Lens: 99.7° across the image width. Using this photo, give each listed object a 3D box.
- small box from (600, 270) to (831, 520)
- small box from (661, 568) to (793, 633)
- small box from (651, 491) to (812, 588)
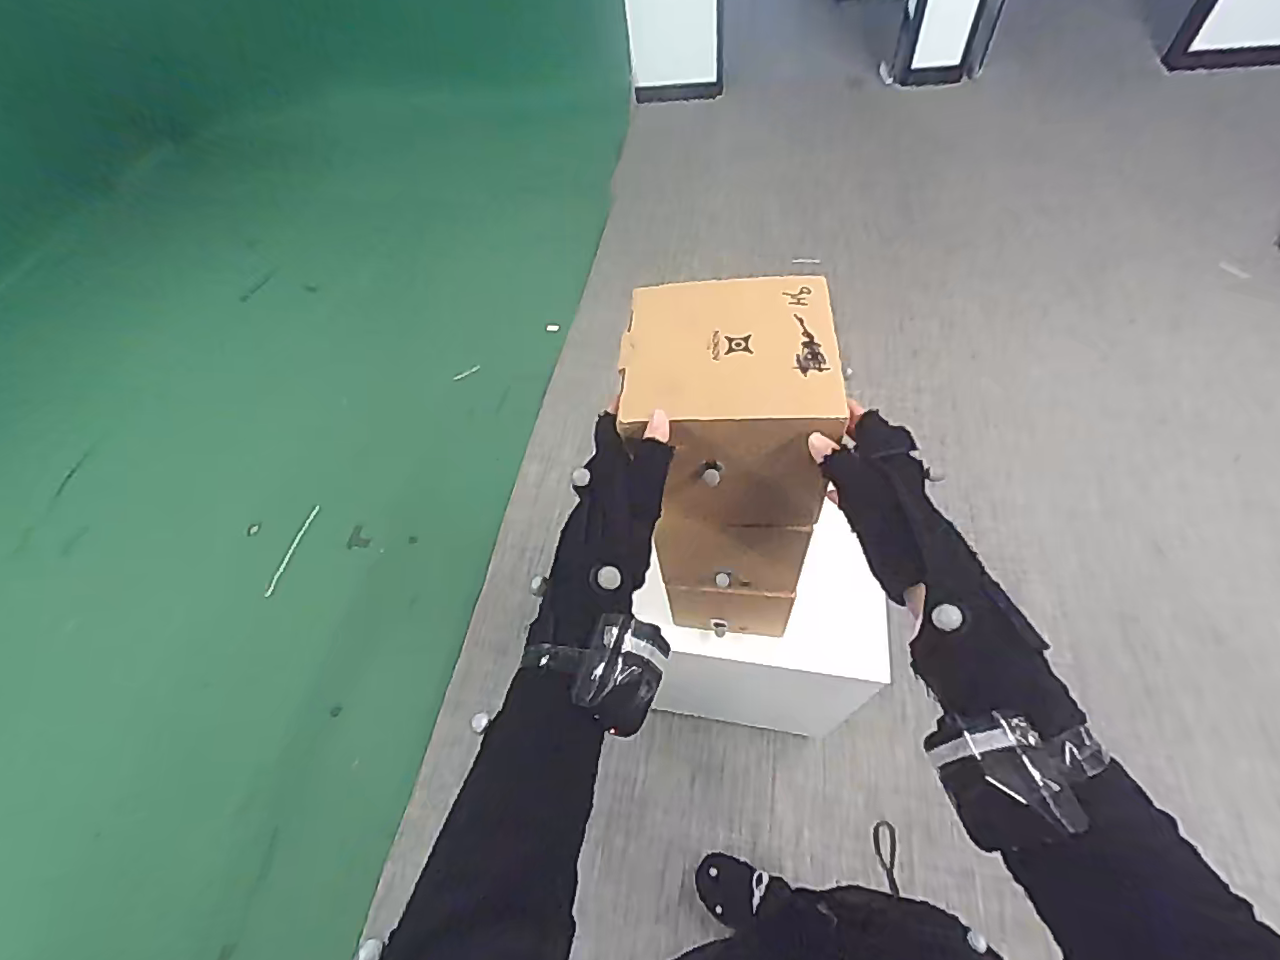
[{"bbox_3d":[0.073,-0.071,0.511,0.179,0.176,0.168,-1,58,10],"label":"small box"},{"bbox_3d":[0.129,0.105,0.783,0.168,0.176,0.179,2,59,11],"label":"small box"},{"bbox_3d":[0.105,0.013,0.650,0.168,0.176,0.179,-1,56,9],"label":"small box"}]
